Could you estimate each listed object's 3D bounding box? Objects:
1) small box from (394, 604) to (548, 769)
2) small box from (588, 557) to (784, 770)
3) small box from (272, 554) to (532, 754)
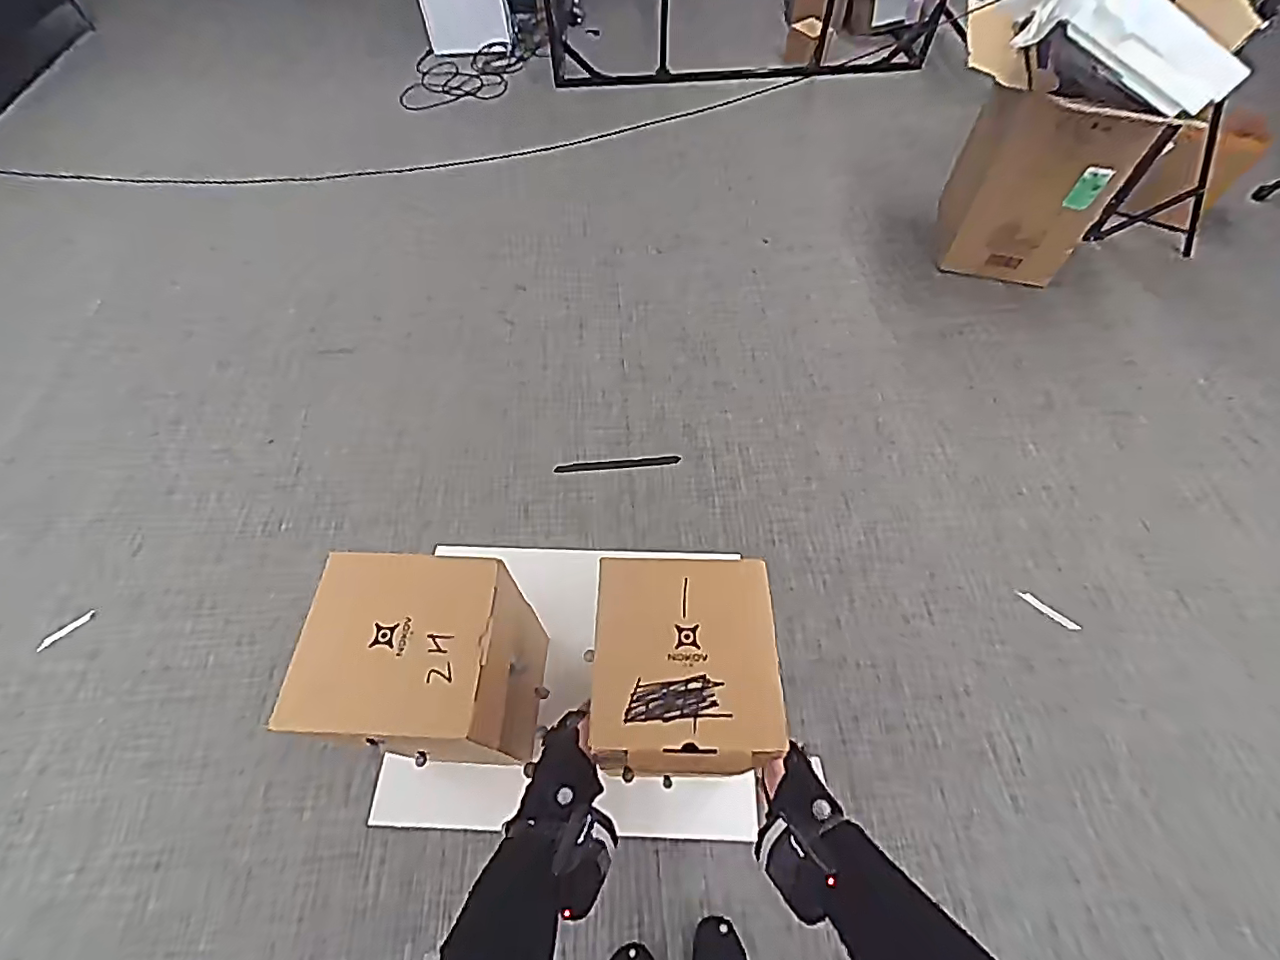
[{"bbox_3d":[-0.222,0.270,0.710,0.168,0.176,0.179,2,58,3],"label":"small box"},{"bbox_3d":[0.040,0.194,0.555,0.168,0.176,0.179,2,57,0],"label":"small box"},{"bbox_3d":[-0.225,0.188,0.567,0.179,0.176,0.168,2,60,2],"label":"small box"}]
